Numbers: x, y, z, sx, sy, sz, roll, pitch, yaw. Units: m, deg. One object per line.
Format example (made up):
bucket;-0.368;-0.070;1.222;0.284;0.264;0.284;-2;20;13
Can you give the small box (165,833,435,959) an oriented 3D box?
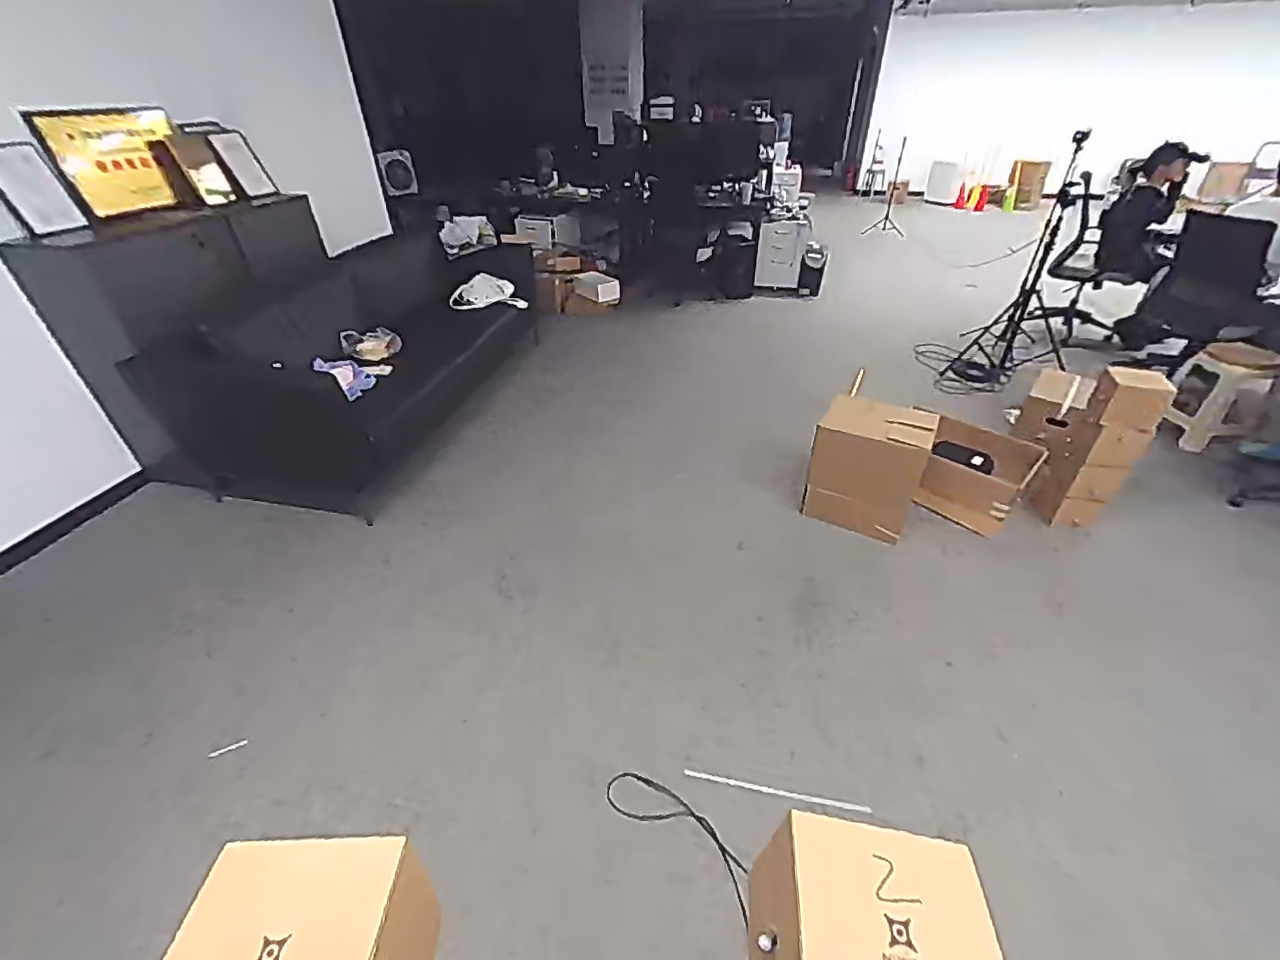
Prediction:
small box;-0.292;0.443;0.472;0.168;0.176;0.179;0;34;-2
